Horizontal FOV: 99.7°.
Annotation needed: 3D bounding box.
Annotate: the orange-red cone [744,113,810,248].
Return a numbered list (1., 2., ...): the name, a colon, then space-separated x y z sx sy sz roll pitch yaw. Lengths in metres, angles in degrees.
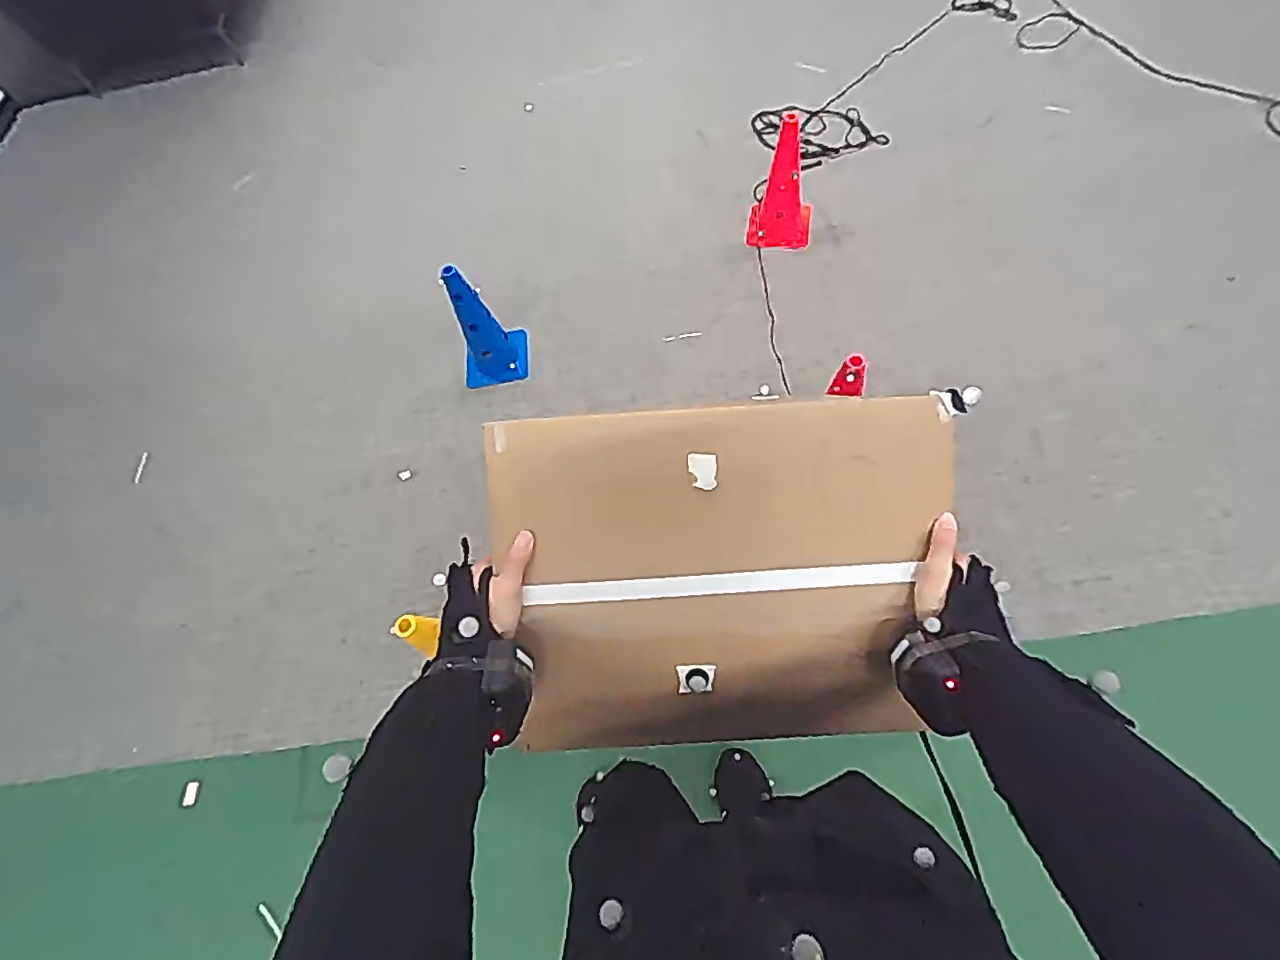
1. orange-red cone: 0.433 -0.915 1.632 0.199 0.360 0.198 9 66 12

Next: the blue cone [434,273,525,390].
1. blue cone: -0.481 -0.448 1.568 0.192 0.380 0.193 -10 62 5
